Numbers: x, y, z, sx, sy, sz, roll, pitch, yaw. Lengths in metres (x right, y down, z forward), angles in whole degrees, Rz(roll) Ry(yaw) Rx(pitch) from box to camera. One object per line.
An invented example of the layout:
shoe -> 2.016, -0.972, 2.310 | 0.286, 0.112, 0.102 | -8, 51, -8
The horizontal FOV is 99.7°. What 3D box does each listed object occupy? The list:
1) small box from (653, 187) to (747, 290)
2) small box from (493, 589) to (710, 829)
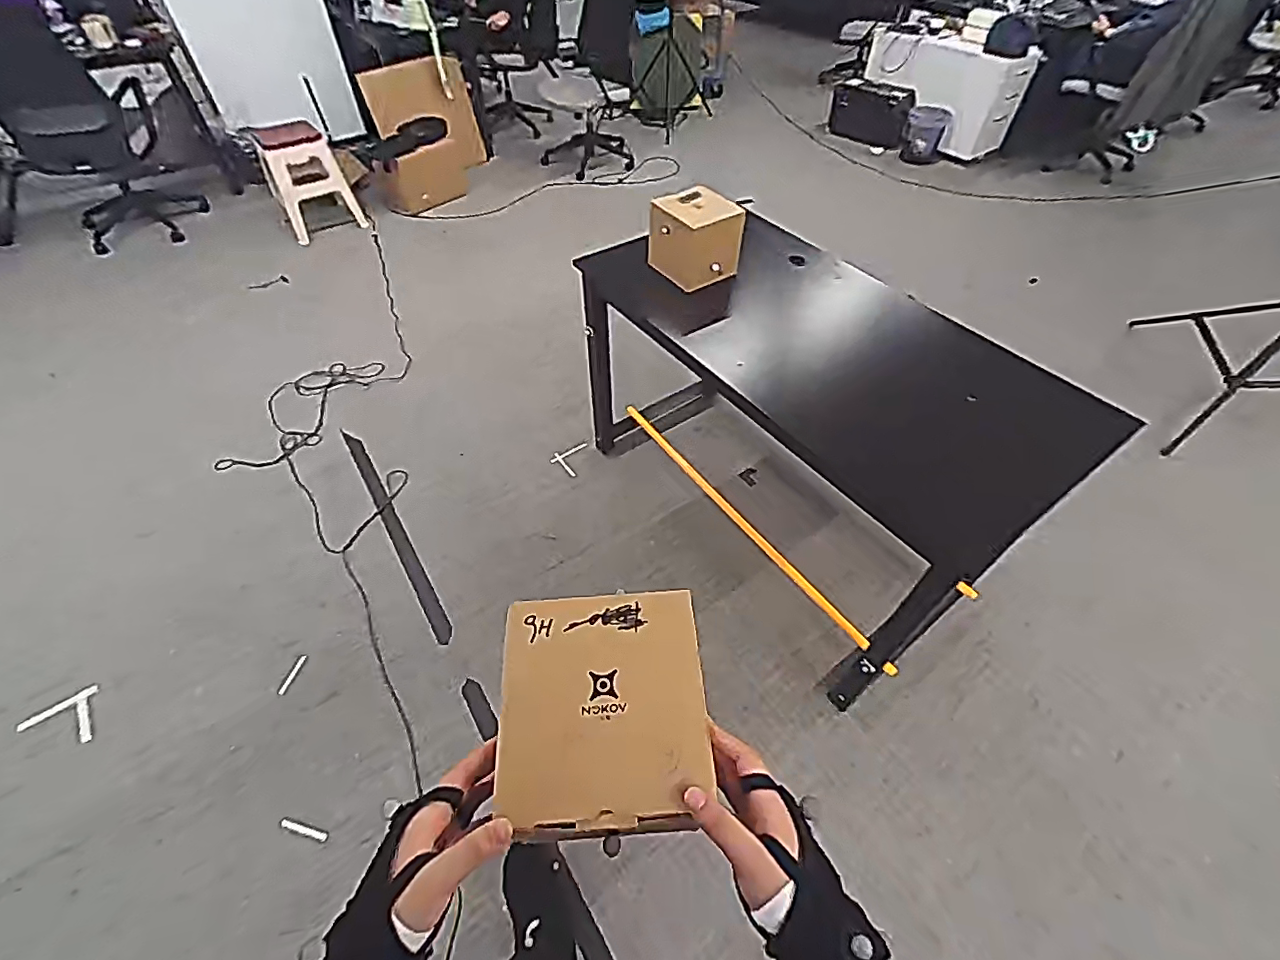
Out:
small box -> 0.145, -0.615, 1.382 | 0.168, 0.176, 0.179 | -28, 57, -22
small box -> -0.031, 0.220, 0.510 | 0.168, 0.176, 0.179 | -4, 56, -2
